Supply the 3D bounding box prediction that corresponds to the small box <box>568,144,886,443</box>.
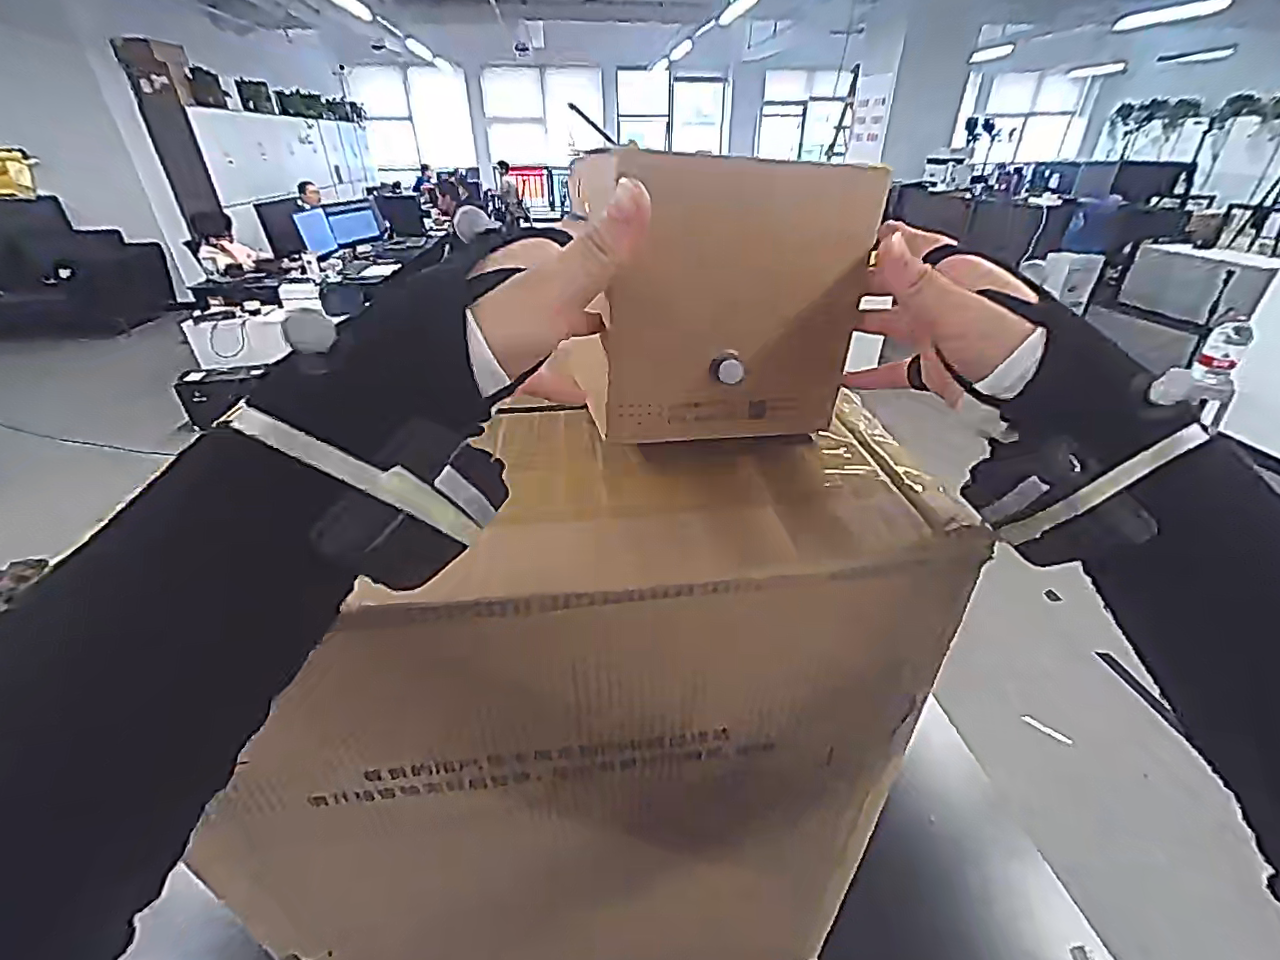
[{"bbox_3d":[0.038,-0.138,0.400,0.168,0.176,0.179,-5,30,-15],"label":"small box"}]
